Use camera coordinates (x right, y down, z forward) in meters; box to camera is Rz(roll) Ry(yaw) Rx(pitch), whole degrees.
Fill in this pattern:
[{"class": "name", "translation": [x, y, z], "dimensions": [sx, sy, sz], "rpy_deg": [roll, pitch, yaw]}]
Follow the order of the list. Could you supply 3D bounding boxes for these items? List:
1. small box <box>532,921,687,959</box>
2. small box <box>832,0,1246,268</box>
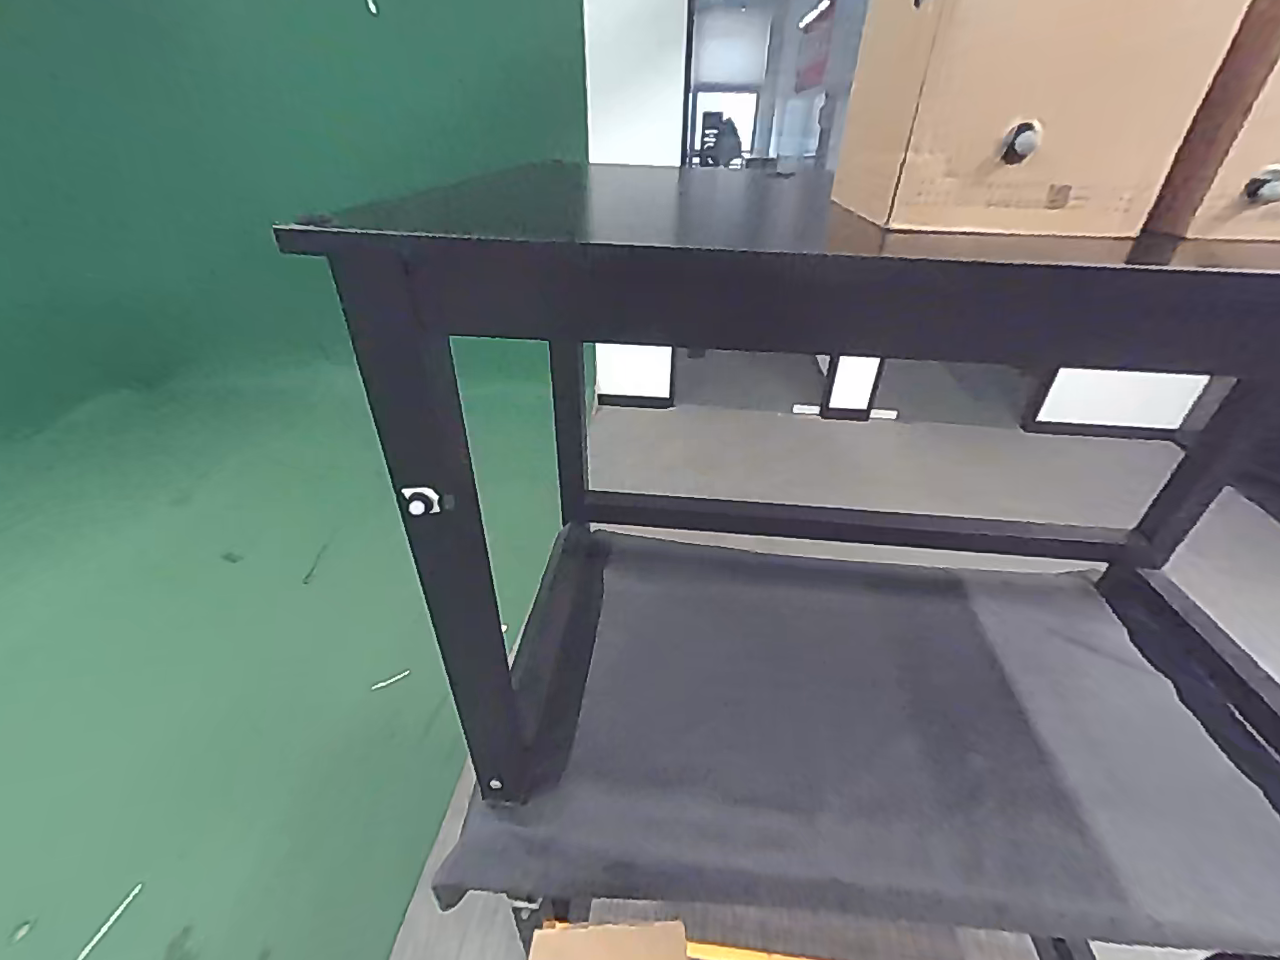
[{"class": "small box", "translation": [-0.028, 0.593, 0.540], "dimensions": [0.168, 0.176, 0.179], "rpy_deg": [-4, 20, 1]}, {"class": "small box", "translation": [0.257, -0.268, 0.403], "dimensions": [0.168, 0.176, 0.179], "rpy_deg": [3, 34, 3]}]
